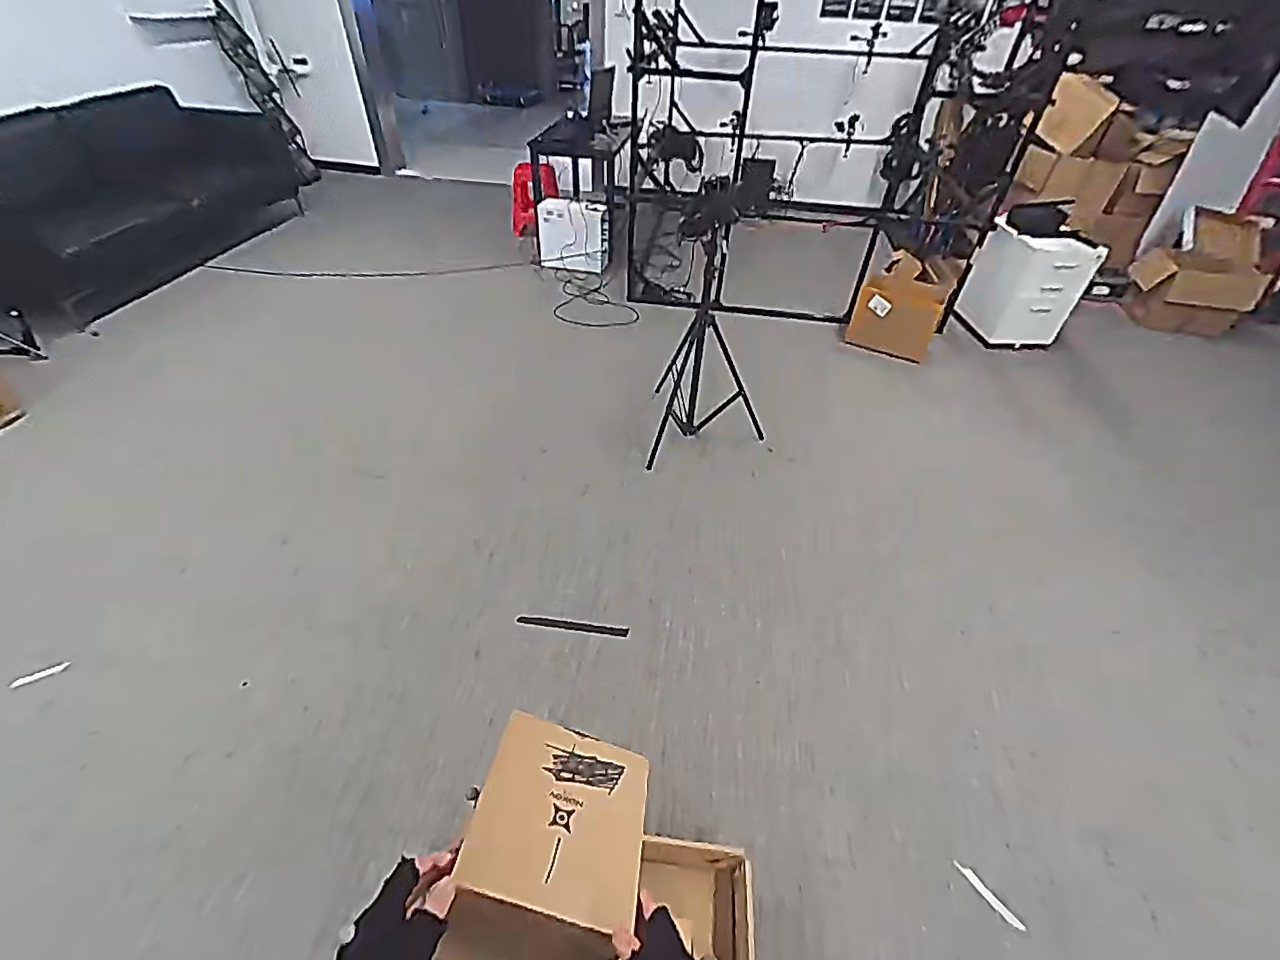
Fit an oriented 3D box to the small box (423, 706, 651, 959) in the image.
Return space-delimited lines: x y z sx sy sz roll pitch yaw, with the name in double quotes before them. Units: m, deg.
"small box" -0.099 0.377 0.551 0.168 0.176 0.179 21 24 -5
